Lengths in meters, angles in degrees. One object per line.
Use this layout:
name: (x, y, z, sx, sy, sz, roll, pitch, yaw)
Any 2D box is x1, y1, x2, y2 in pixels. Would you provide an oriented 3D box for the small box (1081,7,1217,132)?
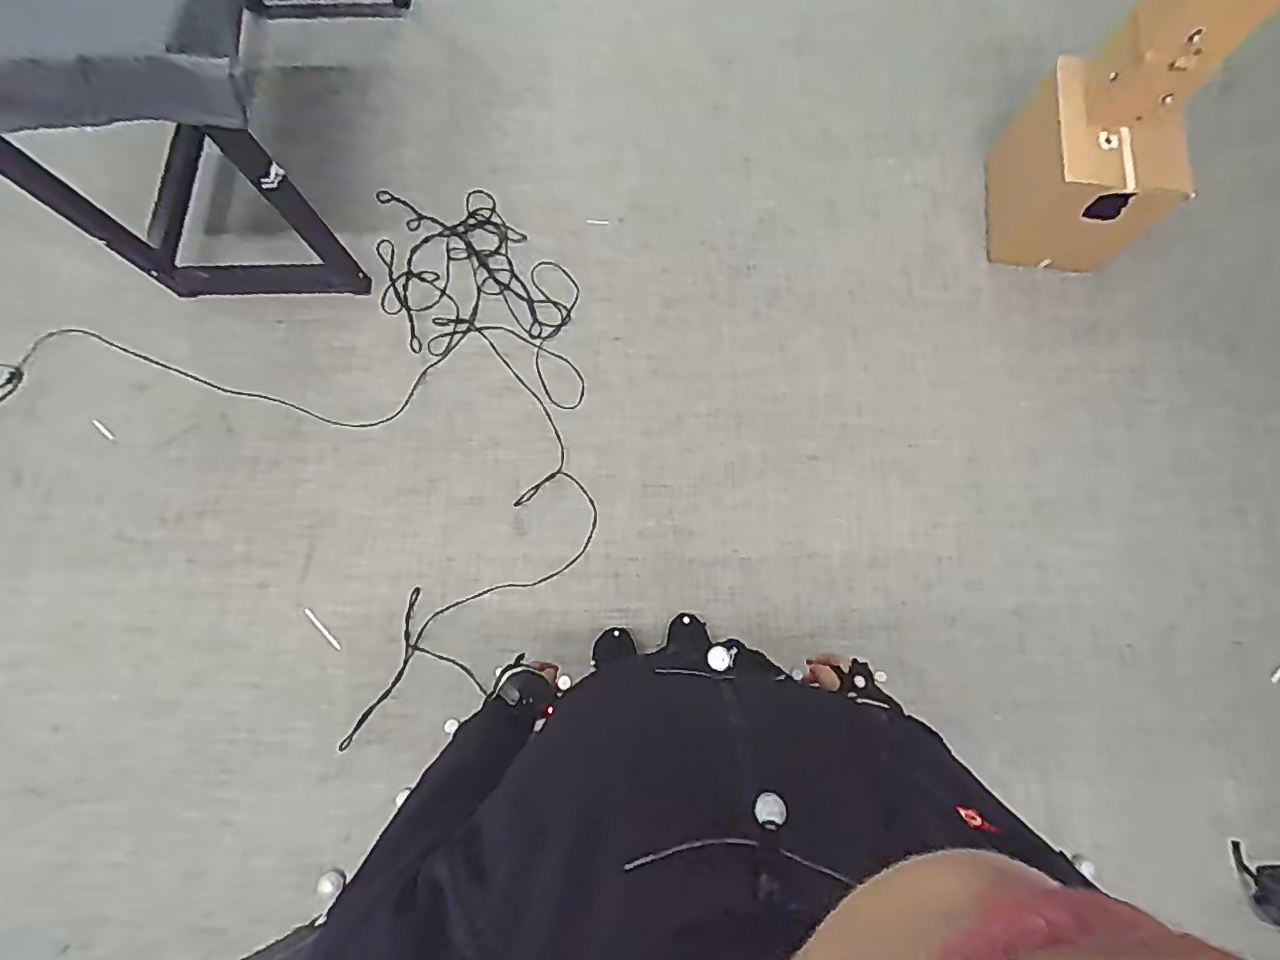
small box: (1.209, -0.977, 1.298, 0.168, 0.176, 0.179, 7, 75, 1)

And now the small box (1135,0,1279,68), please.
small box: (1.201, -1.025, 1.143, 0.168, 0.176, 0.179, 8, 77, 2)

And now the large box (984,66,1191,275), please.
large box: (1.217, -0.850, 1.516, 0.320, 0.320, 0.408, 6, 77, 3)
